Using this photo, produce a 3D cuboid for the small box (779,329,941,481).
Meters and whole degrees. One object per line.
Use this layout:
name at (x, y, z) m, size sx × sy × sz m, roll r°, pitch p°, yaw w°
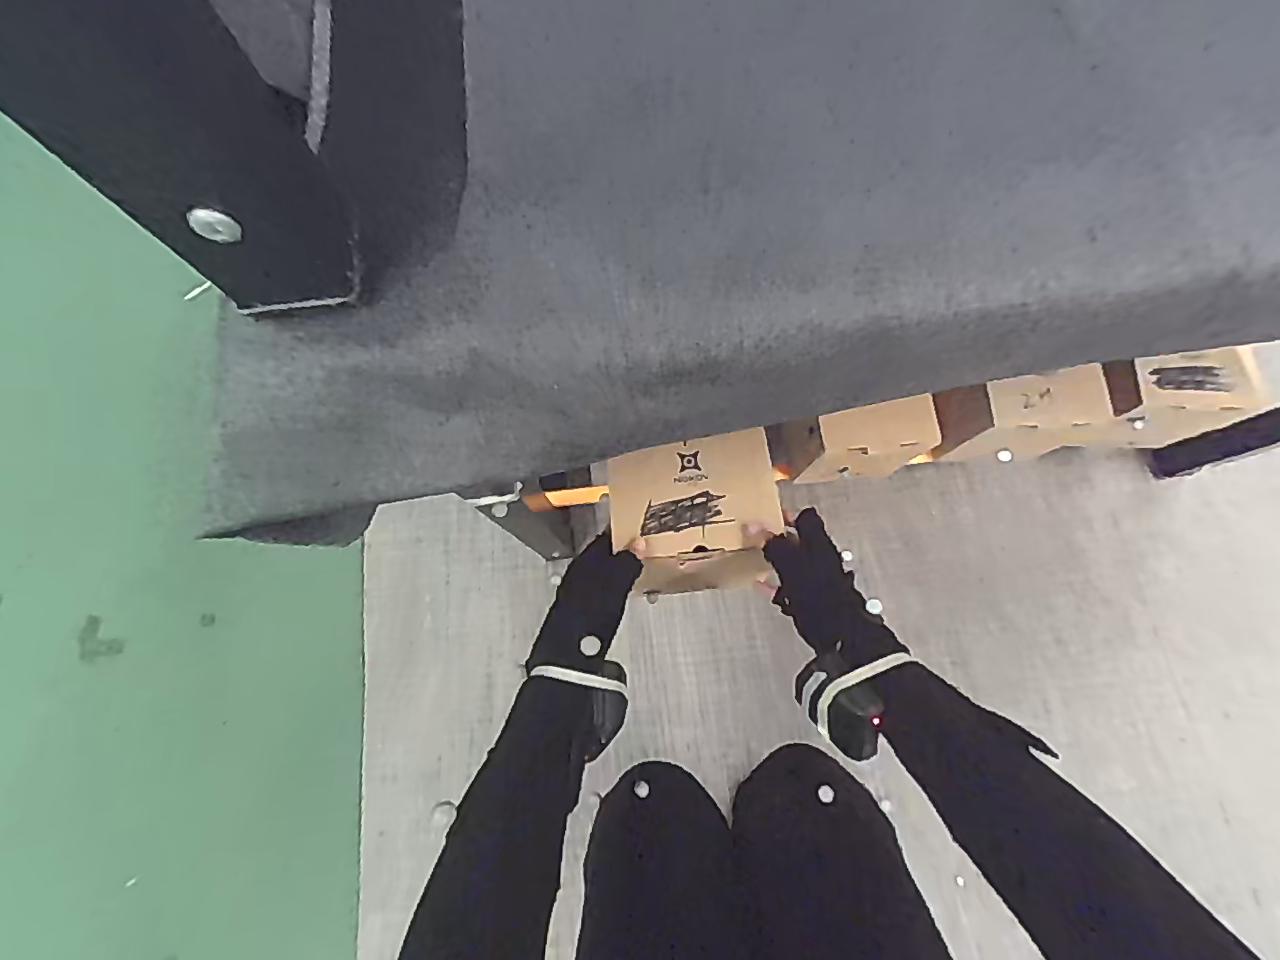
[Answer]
small box at (0.320, -0.107, 0.828) m, size 0.168 × 0.176 × 0.179 m, roll -5°, pitch 76°, yaw 0°
